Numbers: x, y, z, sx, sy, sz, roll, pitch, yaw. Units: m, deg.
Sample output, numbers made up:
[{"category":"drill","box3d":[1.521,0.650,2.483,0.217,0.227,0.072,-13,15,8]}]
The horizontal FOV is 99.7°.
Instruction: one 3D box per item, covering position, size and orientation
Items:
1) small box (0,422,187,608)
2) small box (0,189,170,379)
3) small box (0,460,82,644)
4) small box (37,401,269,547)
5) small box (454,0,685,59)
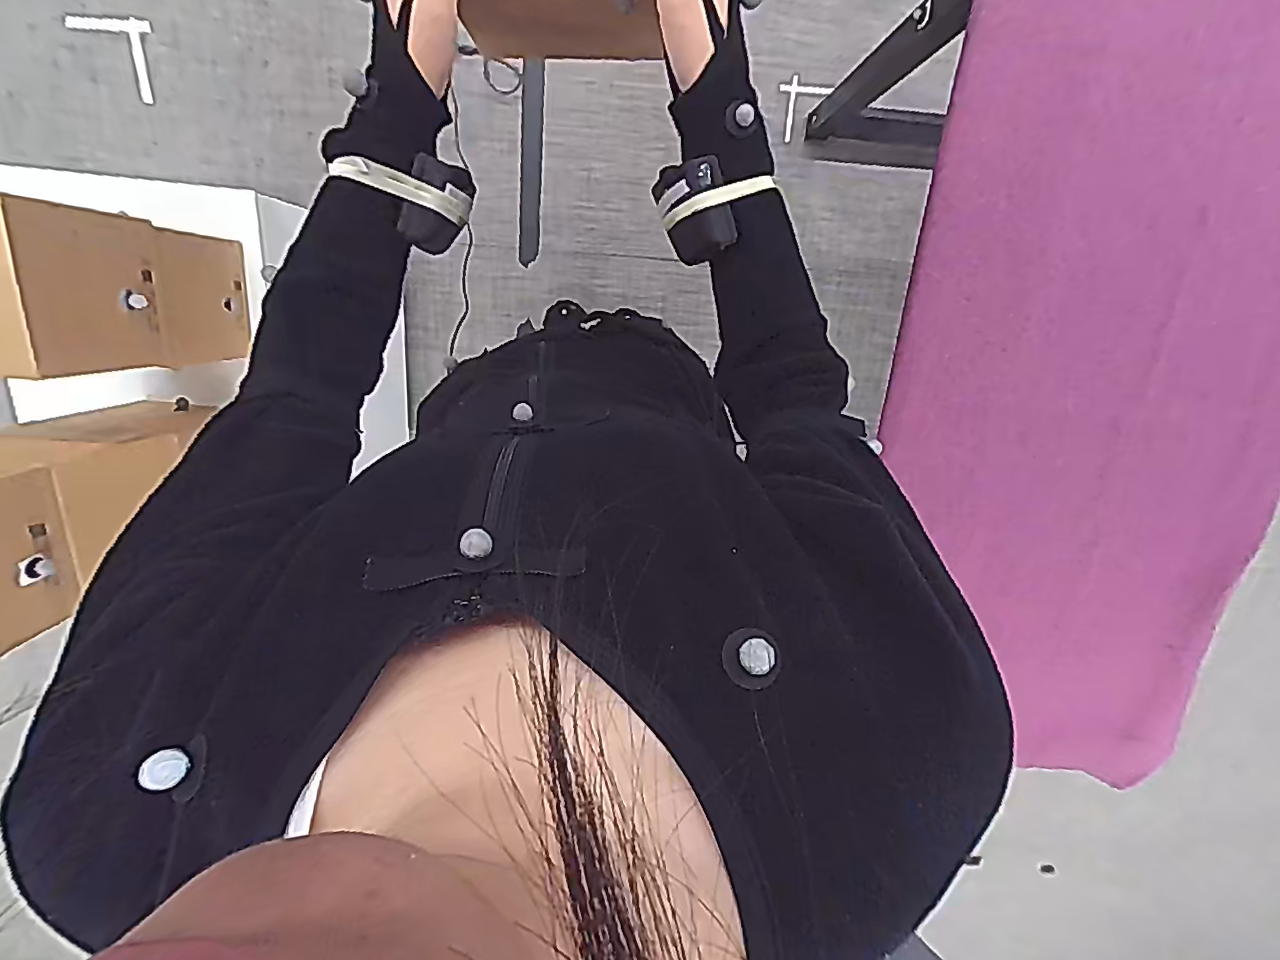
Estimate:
[{"category":"small box","box3d":[-0.674,0.031,0.627,0.179,0.176,0.168,3,107,-3]},{"category":"small box","box3d":[-0.643,-0.204,0.552,0.179,0.176,0.168,6,108,-6]},{"category":"small box","box3d":[-0.669,0.078,0.472,0.179,0.176,0.168,3,108,-4]},{"category":"small box","box3d":[-0.683,-0.017,0.783,0.179,0.176,0.168,5,107,-3]},{"category":"small box","box3d":[-0.049,-0.424,0.375,0.179,0.176,0.168,1,108,0]}]
